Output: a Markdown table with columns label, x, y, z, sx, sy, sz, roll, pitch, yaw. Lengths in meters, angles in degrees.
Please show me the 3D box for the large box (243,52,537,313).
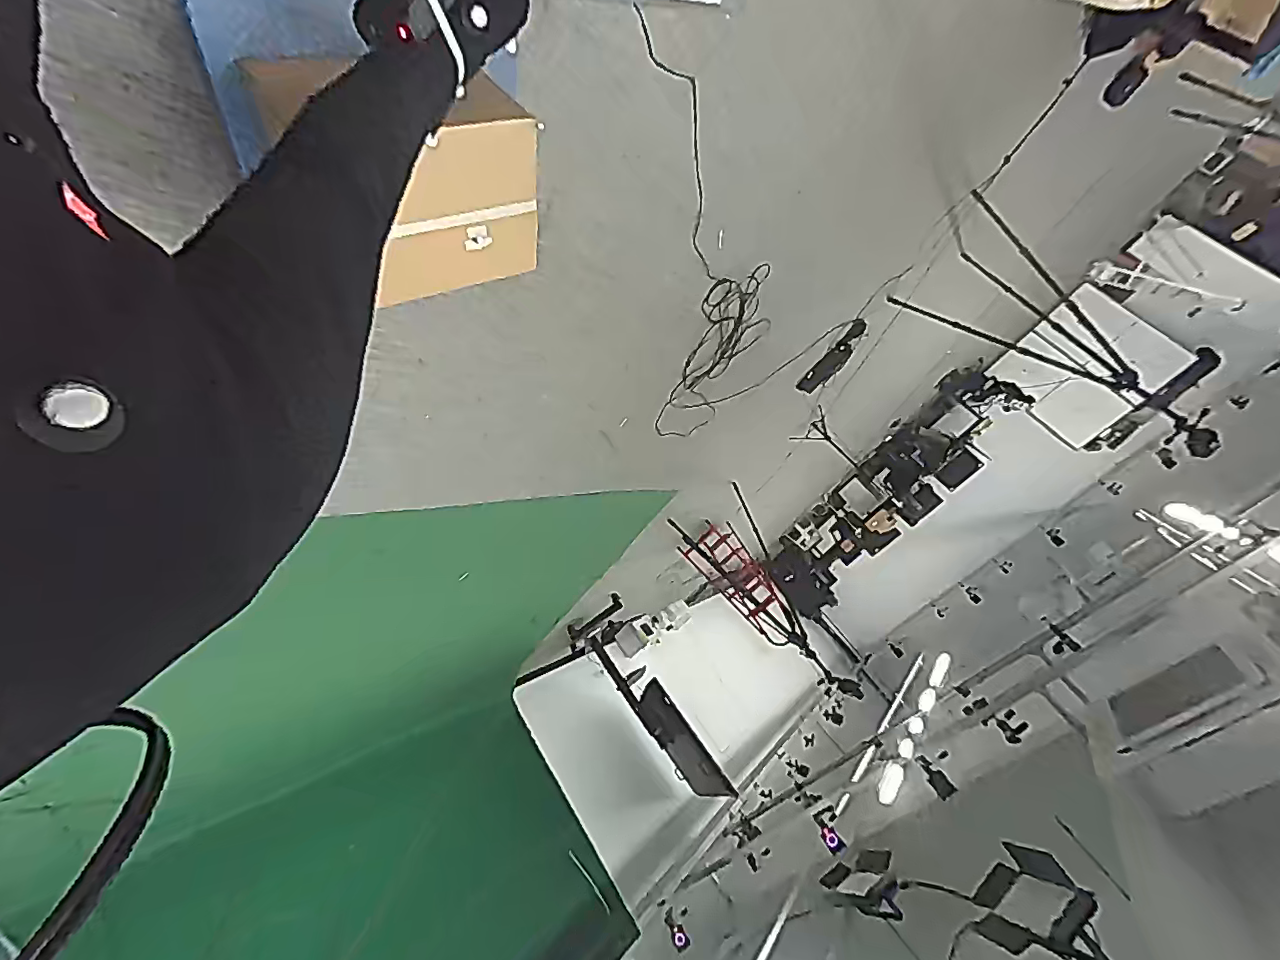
| label | x | y | z | sx | sy | sz | roll | pitch | yaw |
| --- | --- | --- | --- | --- | --- | --- | --- | --- | --- |
| large box | -0.459 | -0.596 | 1.069 | 0.408 | 0.320 | 0.320 | -28 | 155 | -26 |
